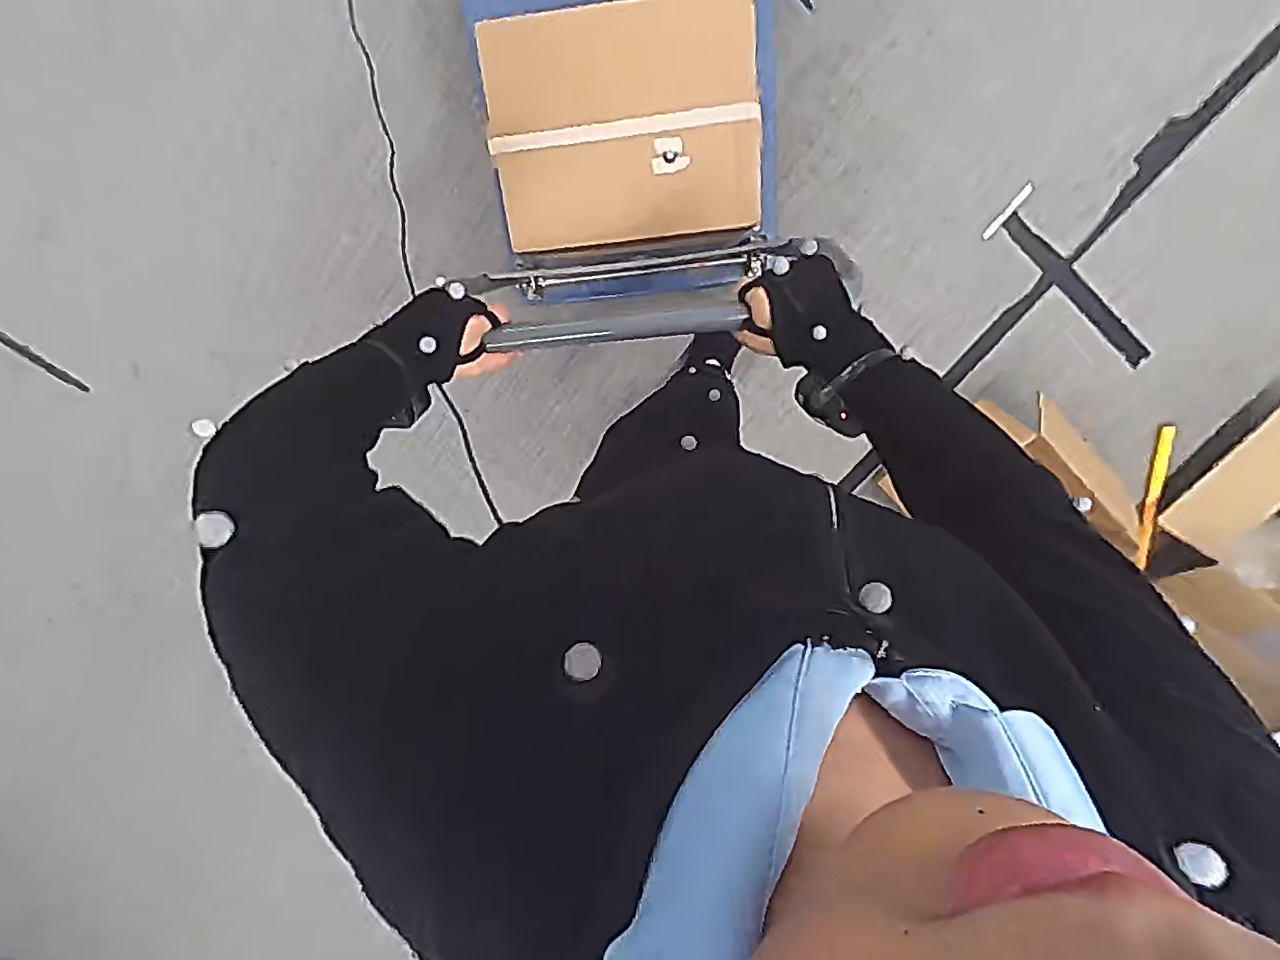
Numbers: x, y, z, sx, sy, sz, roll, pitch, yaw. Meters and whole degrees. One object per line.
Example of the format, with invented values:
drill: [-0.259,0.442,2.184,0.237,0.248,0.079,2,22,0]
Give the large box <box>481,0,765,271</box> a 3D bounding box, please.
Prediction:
large box: [-0.014,-0.559,0.952,0.408,0.320,0.320,-5,110,3]
